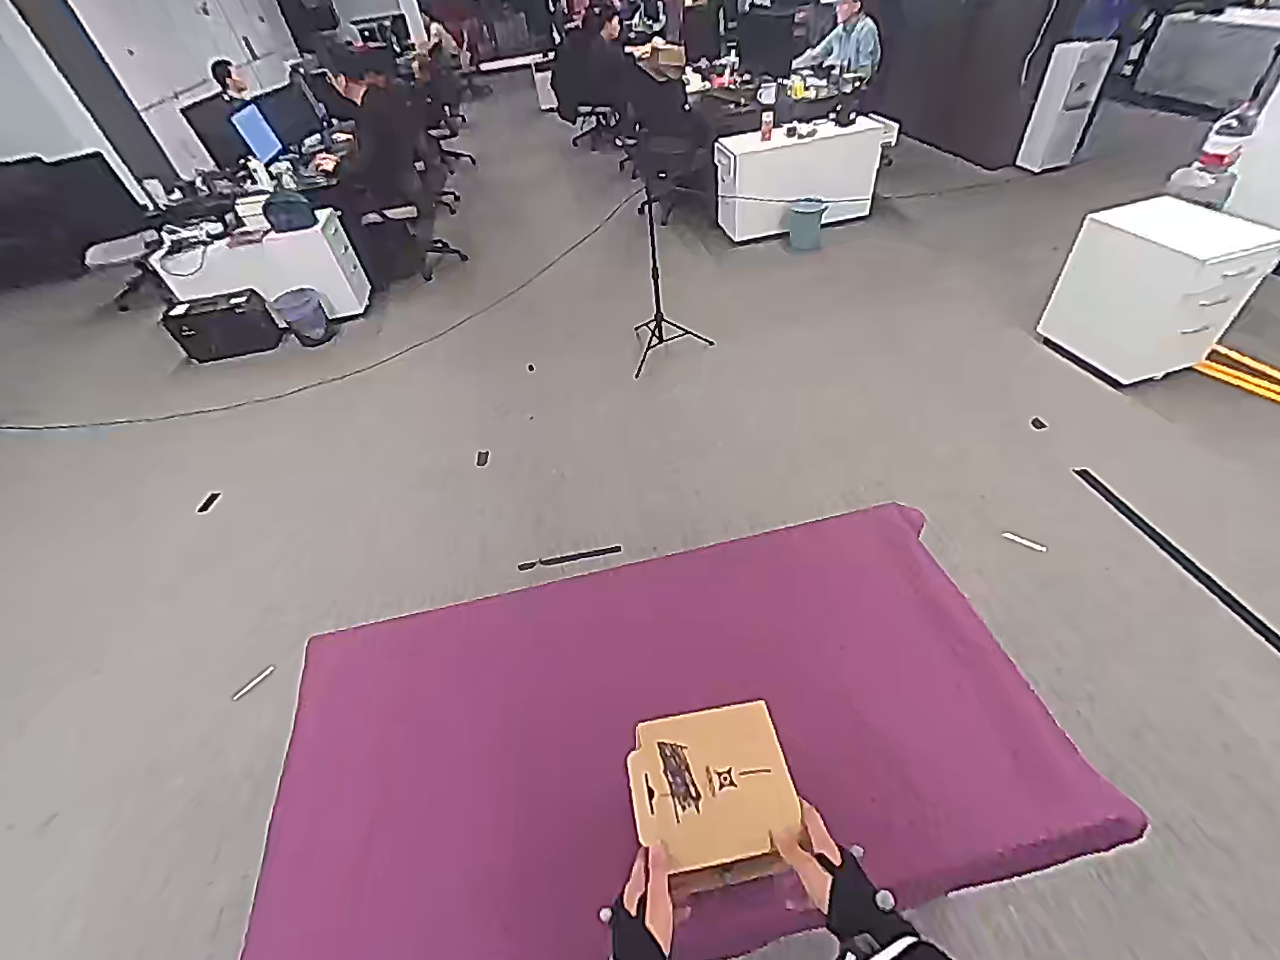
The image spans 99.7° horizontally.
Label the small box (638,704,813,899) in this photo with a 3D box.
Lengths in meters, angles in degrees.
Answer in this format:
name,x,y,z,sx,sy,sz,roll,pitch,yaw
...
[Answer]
name,x,y,z,sx,sy,sz,roll,pitch,yaw
small box,0.096,0.419,0.703,0.179,0.176,0.168,-7,46,-8
